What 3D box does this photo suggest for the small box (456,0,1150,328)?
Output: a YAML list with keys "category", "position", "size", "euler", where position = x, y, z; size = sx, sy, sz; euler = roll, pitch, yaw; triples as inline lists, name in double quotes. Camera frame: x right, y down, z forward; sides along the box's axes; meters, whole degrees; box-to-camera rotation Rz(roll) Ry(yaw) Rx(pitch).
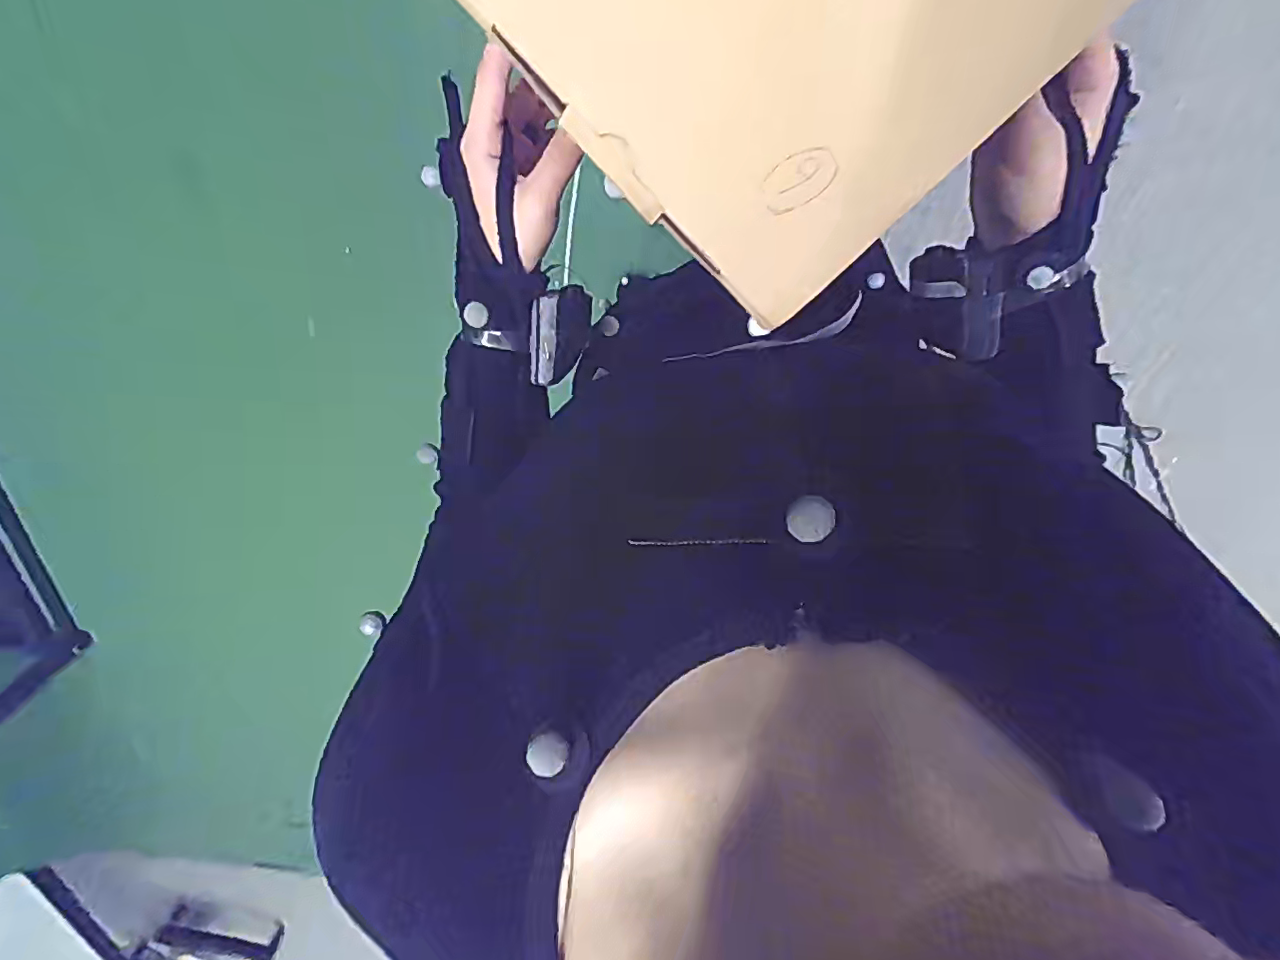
- category: "small box"
  position: [0.058, -0.197, 0.220]
  size: [0.168, 0.176, 0.179]
  euler: [42, 115, -17]
